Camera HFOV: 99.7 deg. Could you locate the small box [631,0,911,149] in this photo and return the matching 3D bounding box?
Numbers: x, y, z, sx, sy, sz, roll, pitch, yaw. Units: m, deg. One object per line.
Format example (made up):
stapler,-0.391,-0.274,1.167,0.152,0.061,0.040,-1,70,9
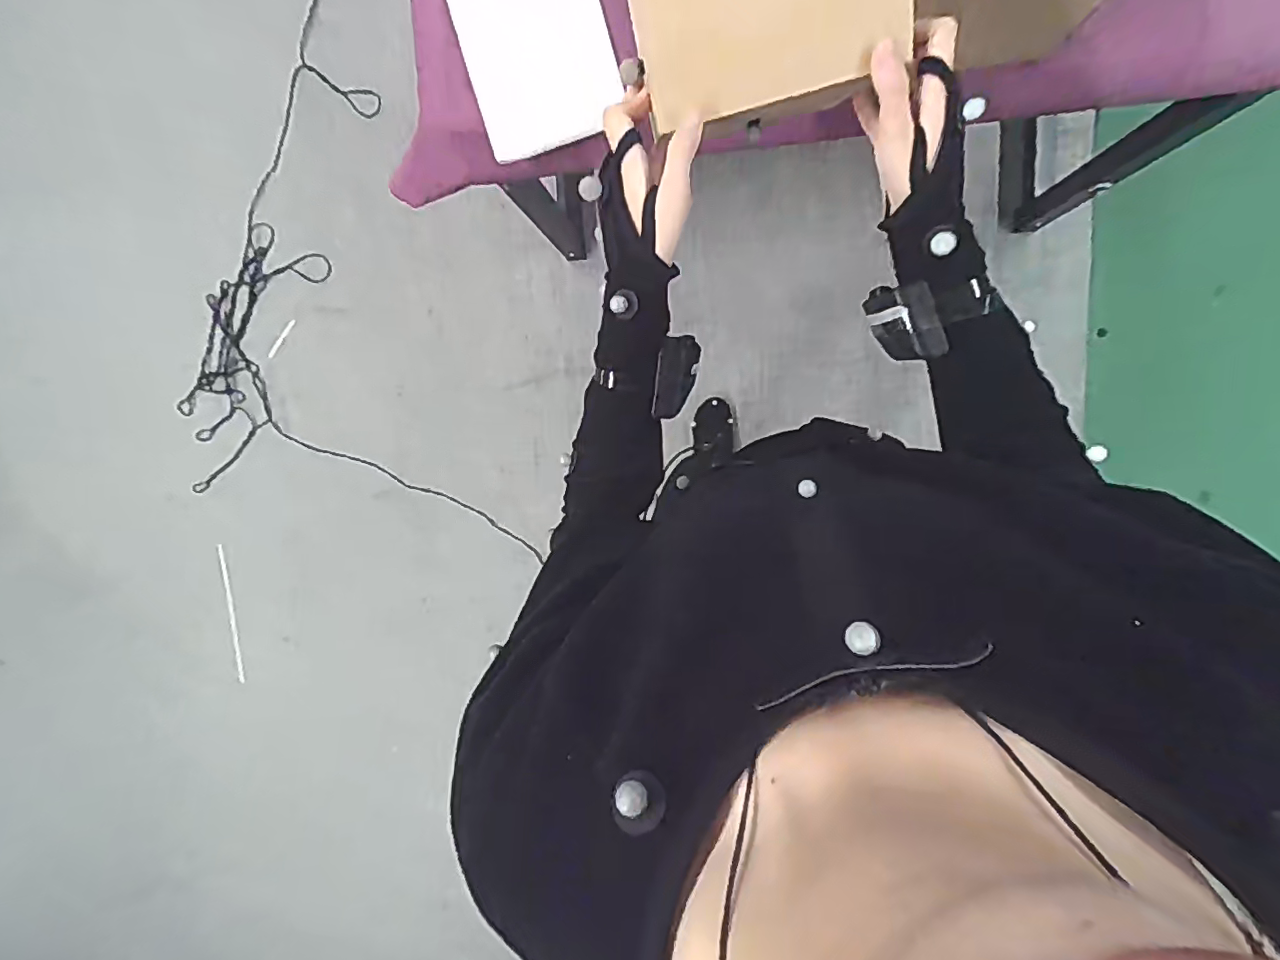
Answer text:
small box,0.076,-0.354,0.385,0.168,0.176,0.179,-11,115,8
